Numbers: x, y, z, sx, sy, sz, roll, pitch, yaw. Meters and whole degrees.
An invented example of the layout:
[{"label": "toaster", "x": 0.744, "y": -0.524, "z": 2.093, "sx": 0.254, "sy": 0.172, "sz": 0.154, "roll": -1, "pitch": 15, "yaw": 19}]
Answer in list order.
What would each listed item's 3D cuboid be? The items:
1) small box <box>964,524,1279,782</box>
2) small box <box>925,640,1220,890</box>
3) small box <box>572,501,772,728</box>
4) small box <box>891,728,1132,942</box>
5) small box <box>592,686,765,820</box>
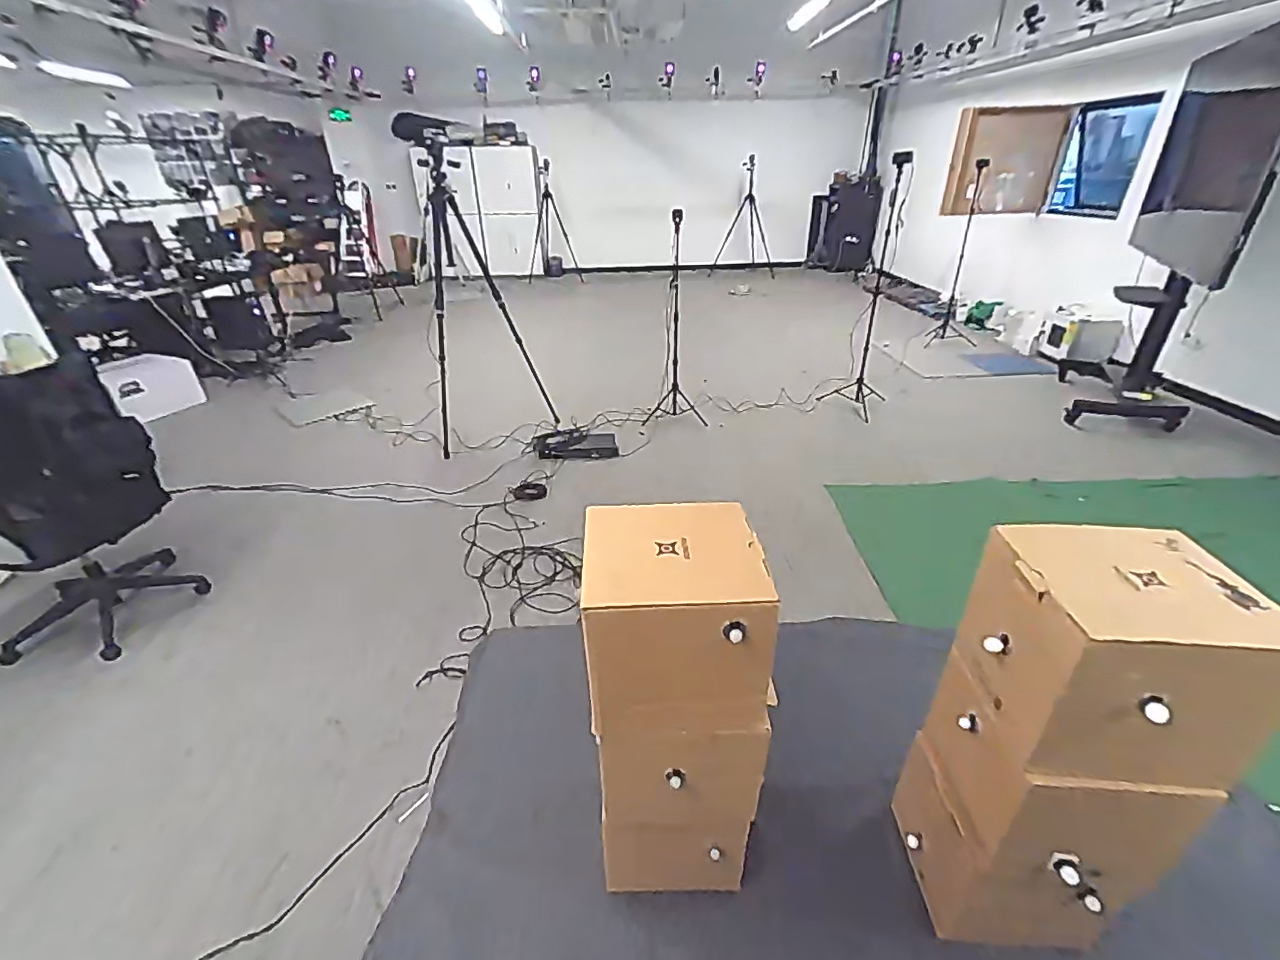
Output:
[{"label": "small box", "x": 0.435, "y": 0.157, "z": 0.513, "sx": 0.179, "sy": 0.176, "sz": 0.168, "roll": 1, "pitch": 29, "yaw": 7}, {"label": "small box", "x": 0.437, "y": 0.302, "z": 0.591, "sx": 0.168, "sy": 0.176, "sz": 0.179, "roll": 0, "pitch": 30, "yaw": 6}, {"label": "small box", "x": 0.027, "y": 0.137, "z": 0.567, "sx": 0.179, "sy": 0.176, "sz": 0.168, "roll": -2, "pitch": 29, "yaw": -3}, {"label": "small box", "x": 0.442, "y": 0.440, "z": 0.676, "sx": 0.179, "sy": 0.176, "sz": 0.168, "roll": 0, "pitch": 29, "yaw": 4}, {"label": "small box", "x": 0.039, "y": 0.279, "z": 0.647, "sx": 0.179, "sy": 0.176, "sz": 0.168, "roll": -2, "pitch": 30, "yaw": 0}]
